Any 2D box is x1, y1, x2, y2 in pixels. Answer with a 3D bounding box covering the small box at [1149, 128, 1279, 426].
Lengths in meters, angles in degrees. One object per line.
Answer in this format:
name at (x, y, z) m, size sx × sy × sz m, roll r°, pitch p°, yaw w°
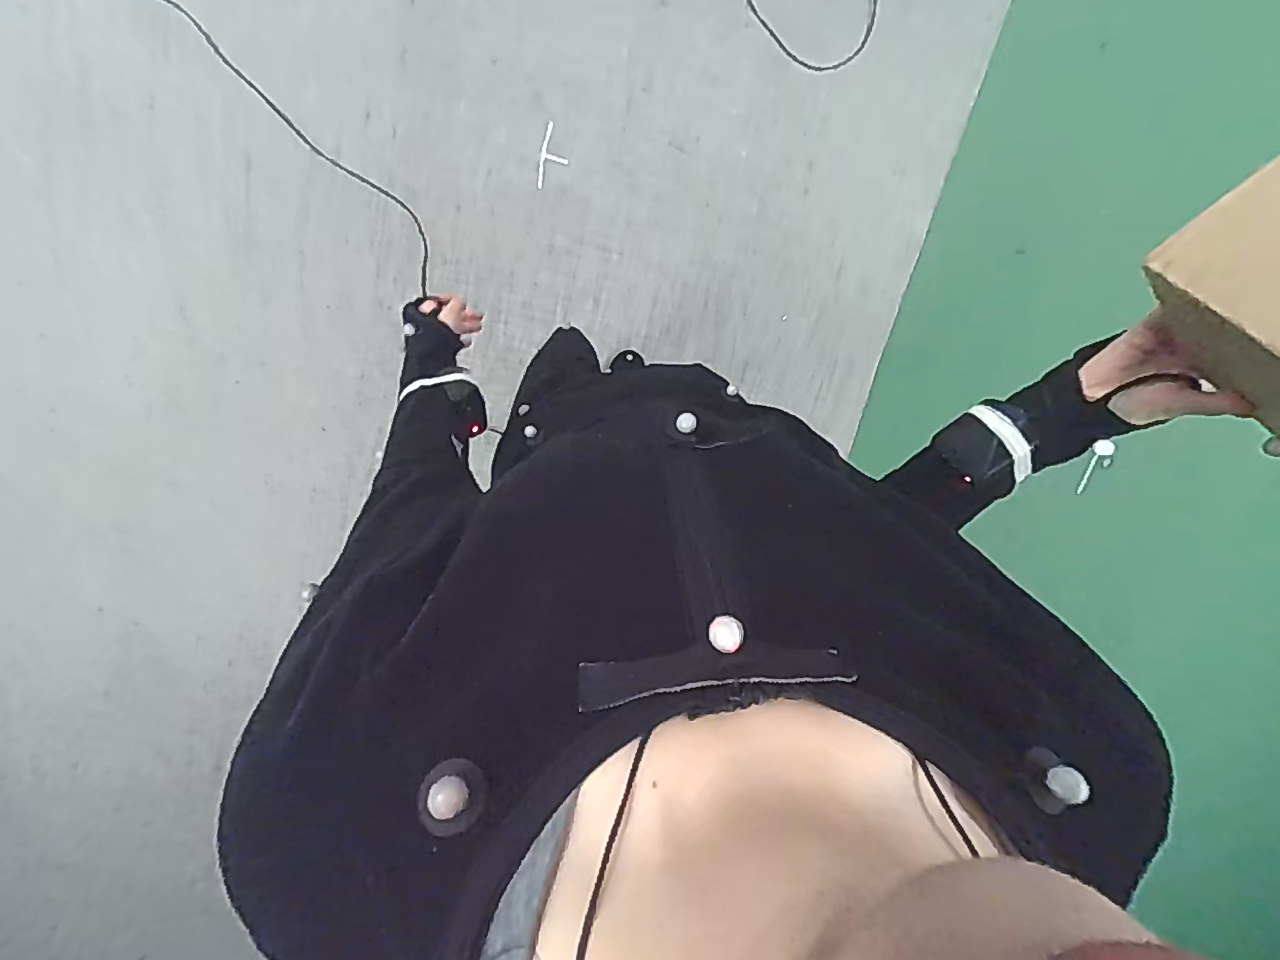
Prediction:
small box at (0.404, -0.096, 0.257) m, size 0.176 × 0.179 × 0.168 m, roll 18°, pitch 131°, yaw -35°
